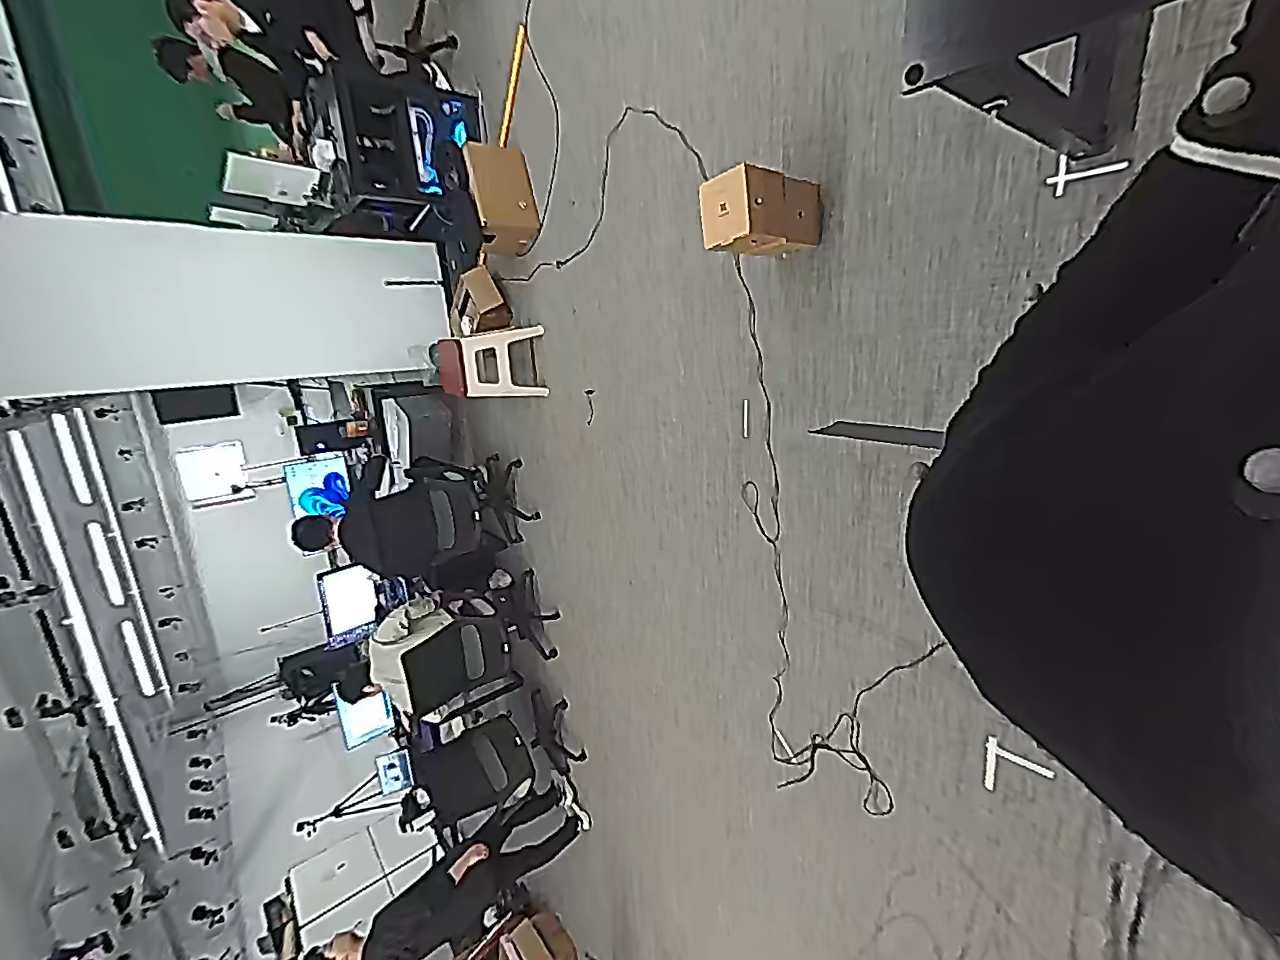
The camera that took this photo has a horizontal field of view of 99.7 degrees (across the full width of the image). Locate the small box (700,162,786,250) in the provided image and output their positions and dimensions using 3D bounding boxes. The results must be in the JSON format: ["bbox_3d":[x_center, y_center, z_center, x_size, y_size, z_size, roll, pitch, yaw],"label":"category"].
[{"bbox_3d":[0.291,-0.751,1.505,0.168,0.176,0.179,5,105,50],"label":"small box"}]

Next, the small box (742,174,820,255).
[{"bbox_3d":[0.417,-0.778,1.604,0.168,0.176,0.179,10,110,50],"label":"small box"}]
